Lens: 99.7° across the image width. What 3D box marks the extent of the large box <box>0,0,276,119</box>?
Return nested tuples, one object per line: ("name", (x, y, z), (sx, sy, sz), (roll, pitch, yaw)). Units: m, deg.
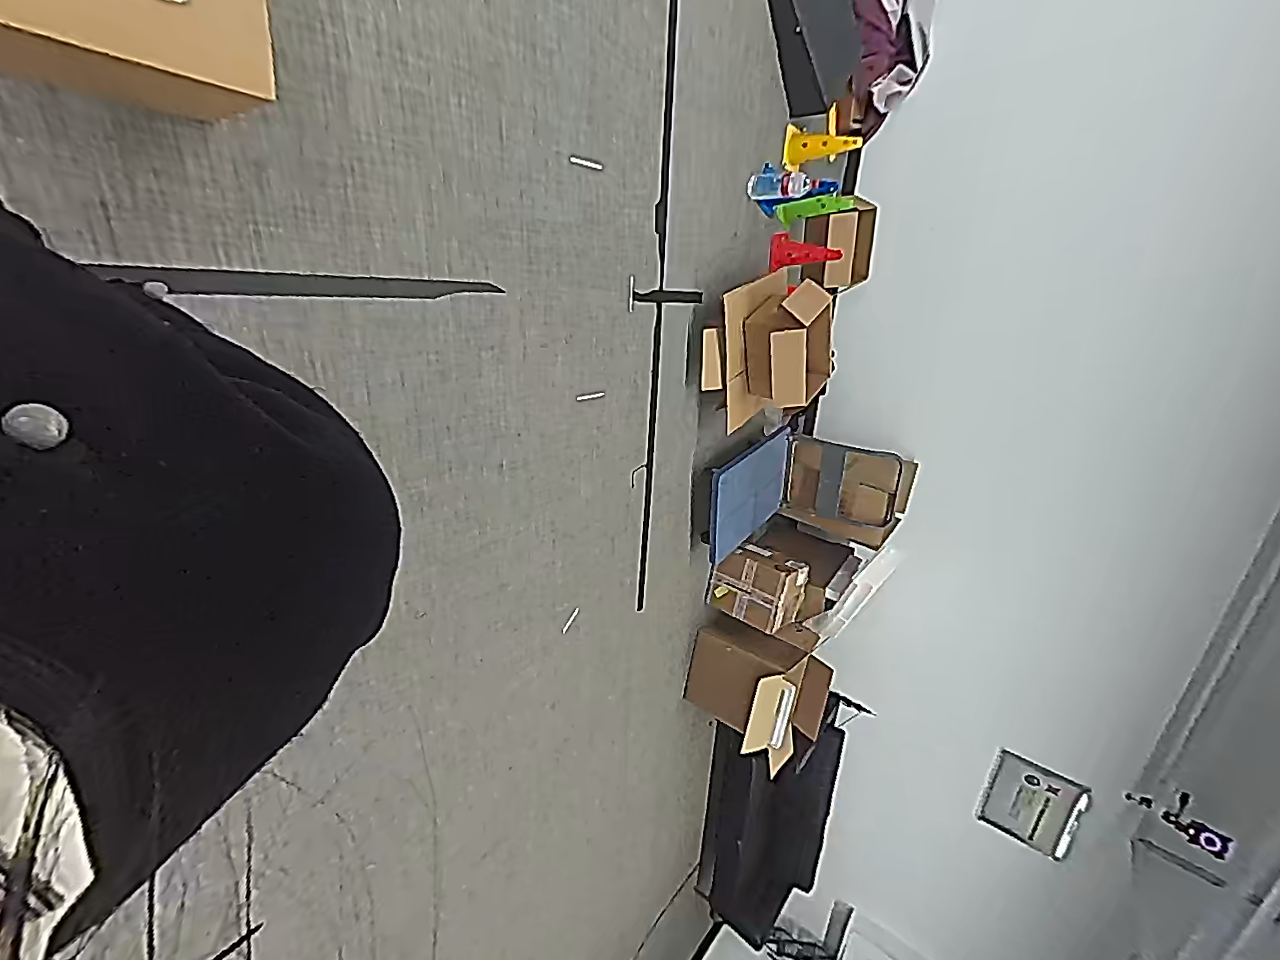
("large box", (-0.842, -0.779, 0.794), (0.408, 0.320, 0.320), (-19, 120, -50))
